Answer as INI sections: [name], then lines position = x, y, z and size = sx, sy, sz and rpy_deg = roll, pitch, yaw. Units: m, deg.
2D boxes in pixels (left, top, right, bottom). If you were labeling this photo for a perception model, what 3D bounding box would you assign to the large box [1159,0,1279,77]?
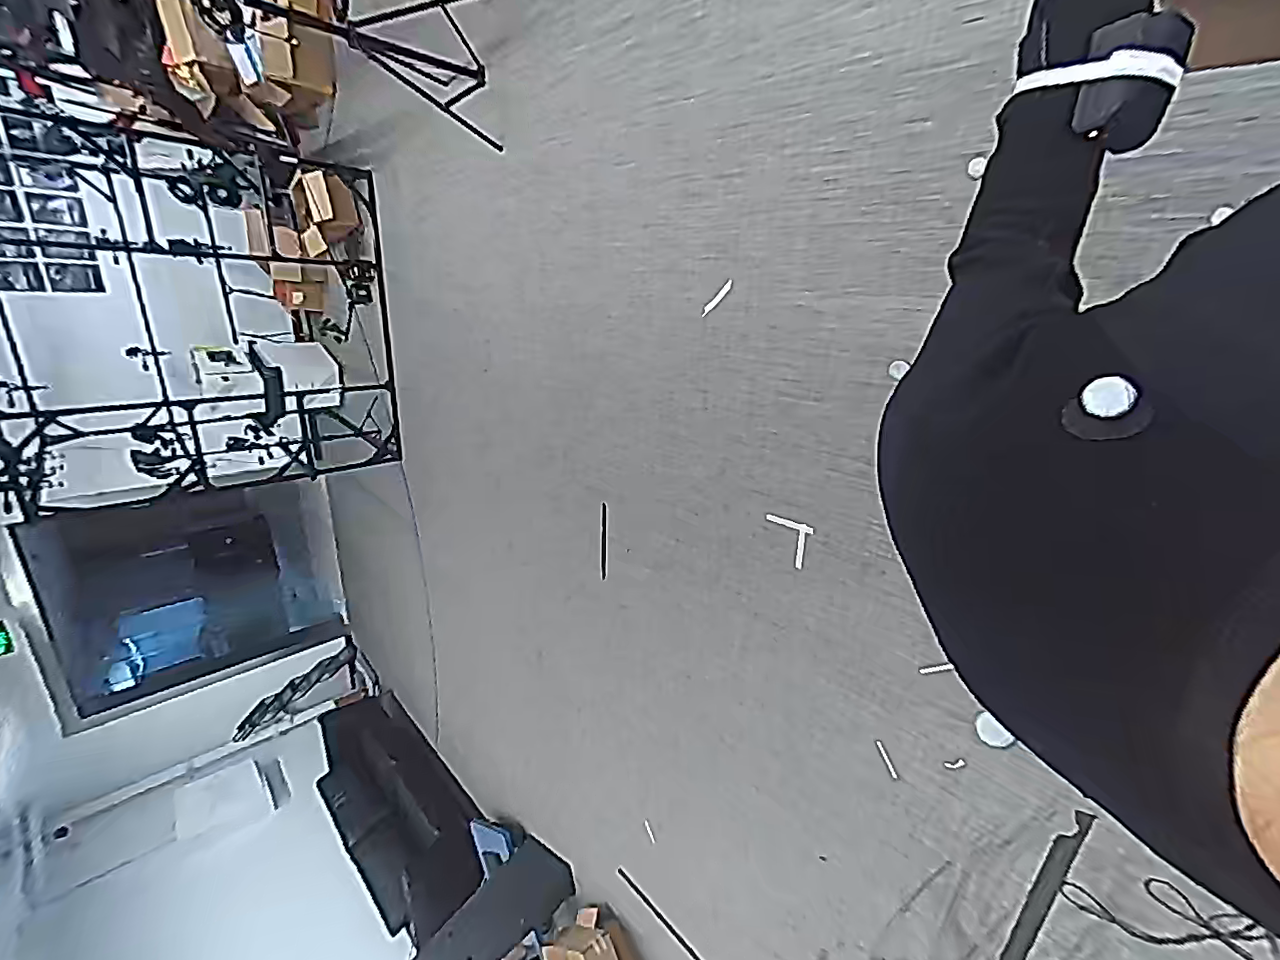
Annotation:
[large box]
position = 0.569, -0.444, 0.258
size = 0.408, 0.320, 0.320
rpy_deg = 22, 123, 40
